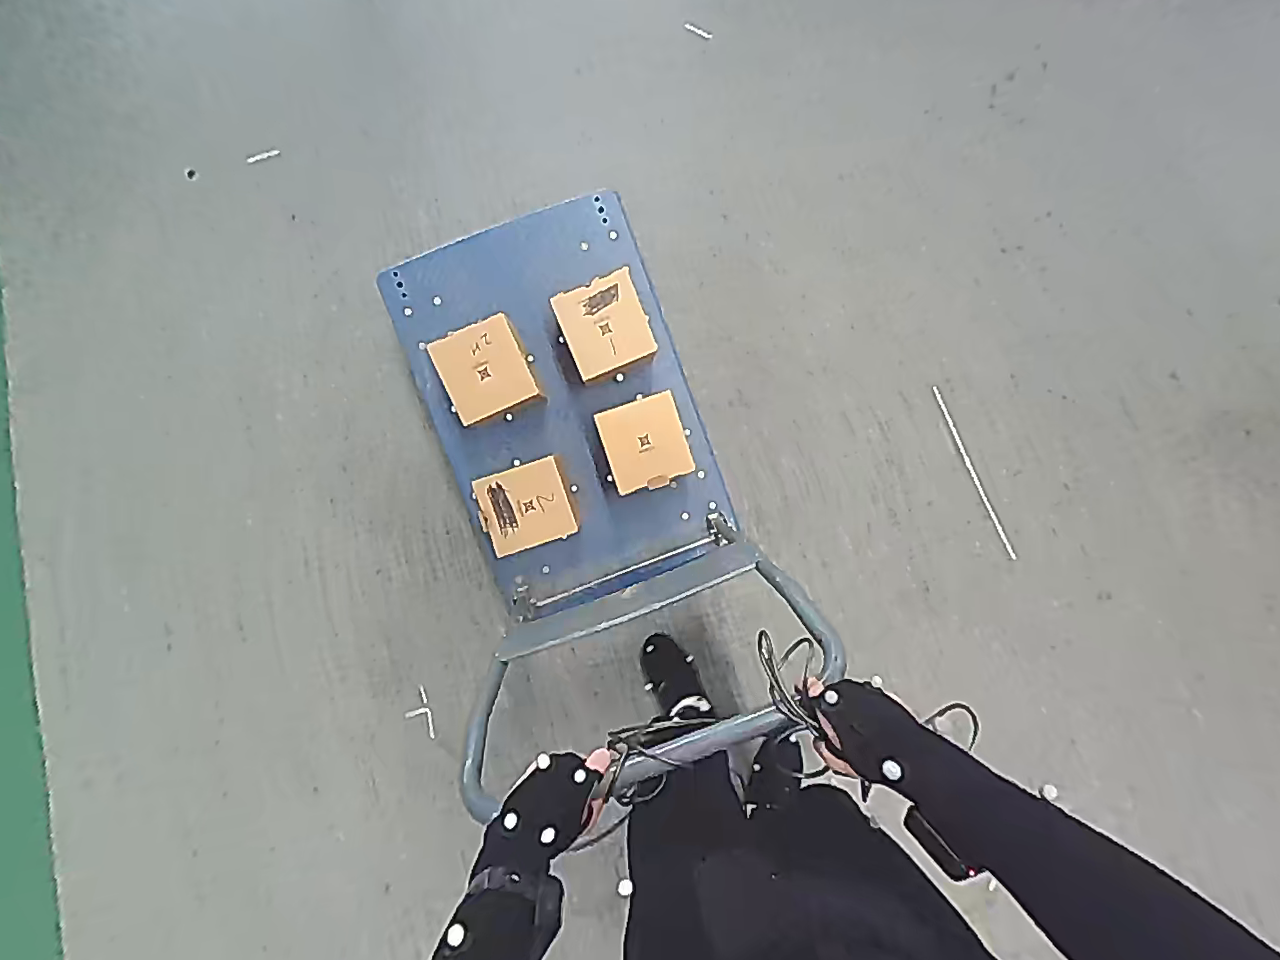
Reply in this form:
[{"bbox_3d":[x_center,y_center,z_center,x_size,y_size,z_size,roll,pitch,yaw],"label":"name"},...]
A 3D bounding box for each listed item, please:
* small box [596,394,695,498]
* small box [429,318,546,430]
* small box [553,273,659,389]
[{"bbox_3d":[0.007,-0.074,1.171,0.168,0.176,0.179,-18,96,-1],"label":"small box"},{"bbox_3d":[-0.311,-0.217,1.146,0.168,0.176,0.179,-23,95,-1],"label":"small box"},{"bbox_3d":[-0.072,-0.306,1.148,0.168,0.176,0.179,-22,96,0],"label":"small box"}]
